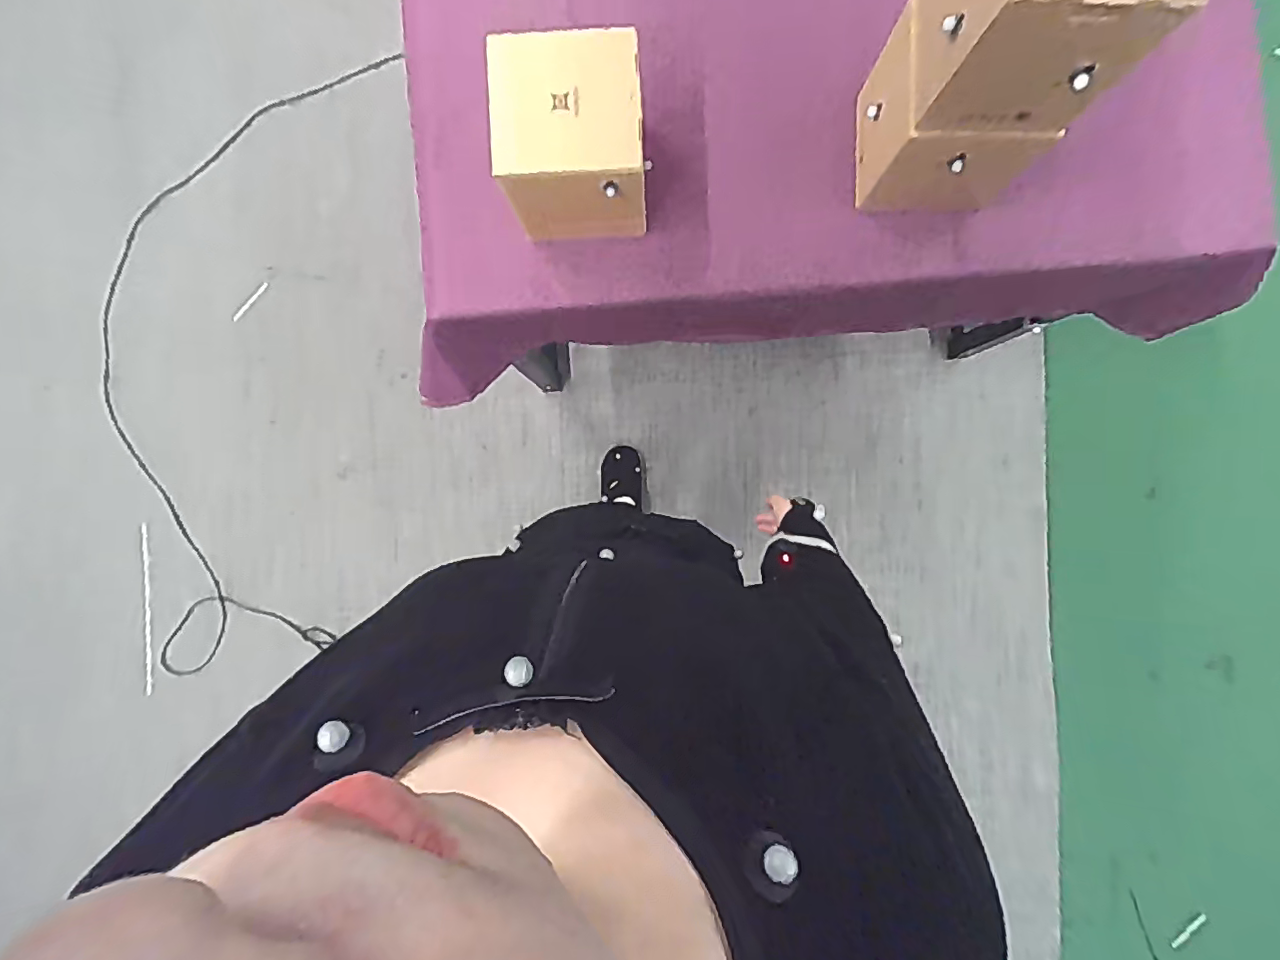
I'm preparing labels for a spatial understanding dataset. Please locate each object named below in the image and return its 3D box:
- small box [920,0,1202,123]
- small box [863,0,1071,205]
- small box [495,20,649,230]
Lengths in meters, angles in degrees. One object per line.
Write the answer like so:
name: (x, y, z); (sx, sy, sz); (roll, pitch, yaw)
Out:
small box: (0.393, -0.482, 0.522); (0.168, 0.176, 0.179); (3, 89, 2)
small box: (0.399, -0.471, 0.685); (0.179, 0.176, 0.168); (3, 90, 2)
small box: (-0.078, -0.445, 0.705); (0.179, 0.176, 0.168); (-2, 89, 1)
